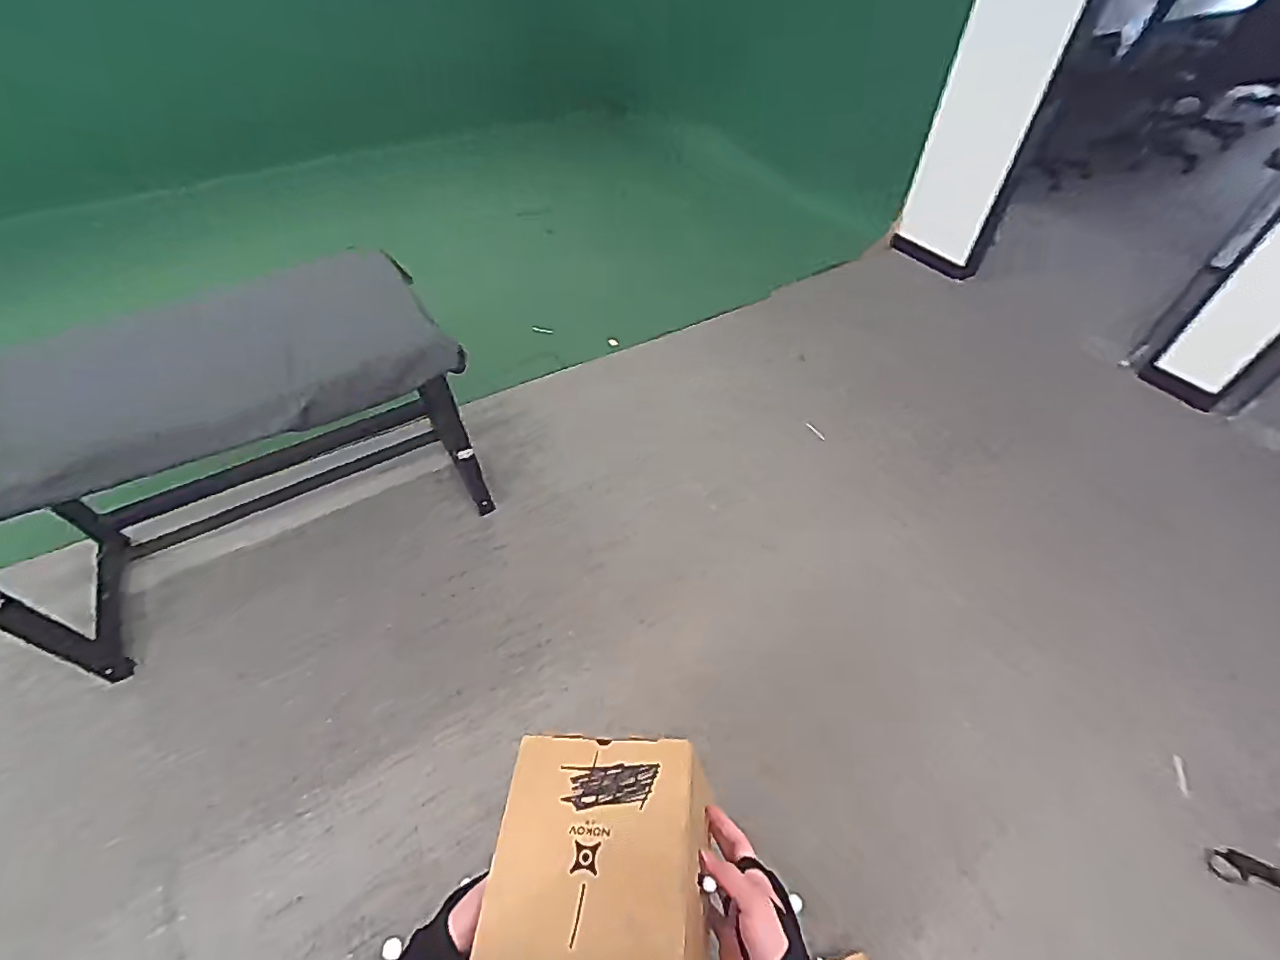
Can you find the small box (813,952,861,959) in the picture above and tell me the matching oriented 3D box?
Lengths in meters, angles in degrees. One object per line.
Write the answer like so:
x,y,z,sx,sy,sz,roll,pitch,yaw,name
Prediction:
0.371,1.055,1.055,0.179,0.176,0.168,-15,50,-11,small box
